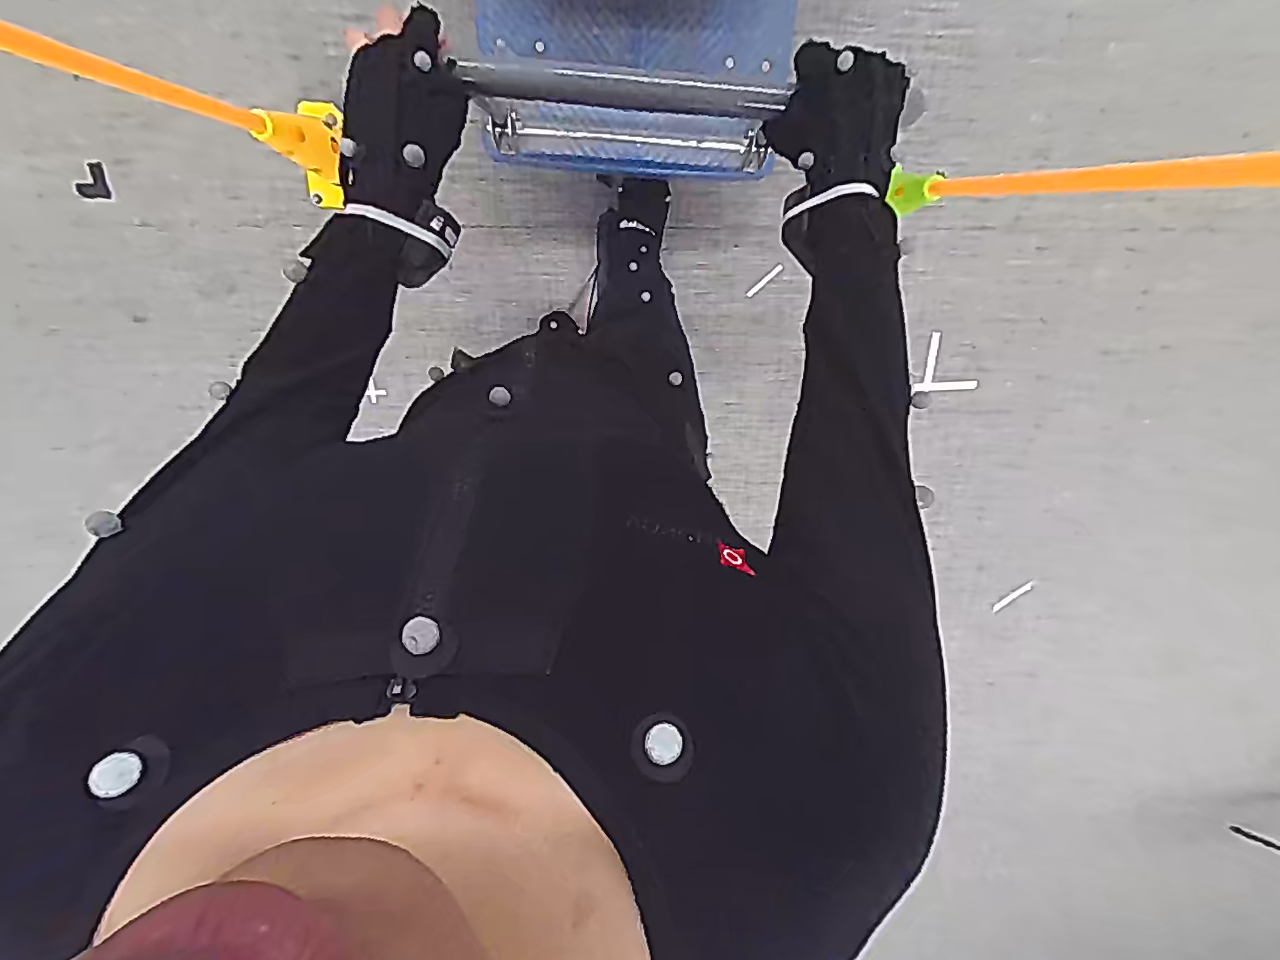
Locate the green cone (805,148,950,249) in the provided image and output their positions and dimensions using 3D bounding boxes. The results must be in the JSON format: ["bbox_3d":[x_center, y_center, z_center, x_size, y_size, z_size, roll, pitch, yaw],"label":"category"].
[{"bbox_3d":[0.509,-0.591,1.115,0.202,0.368,0.200,3,113,-6],"label":"green cone"}]
